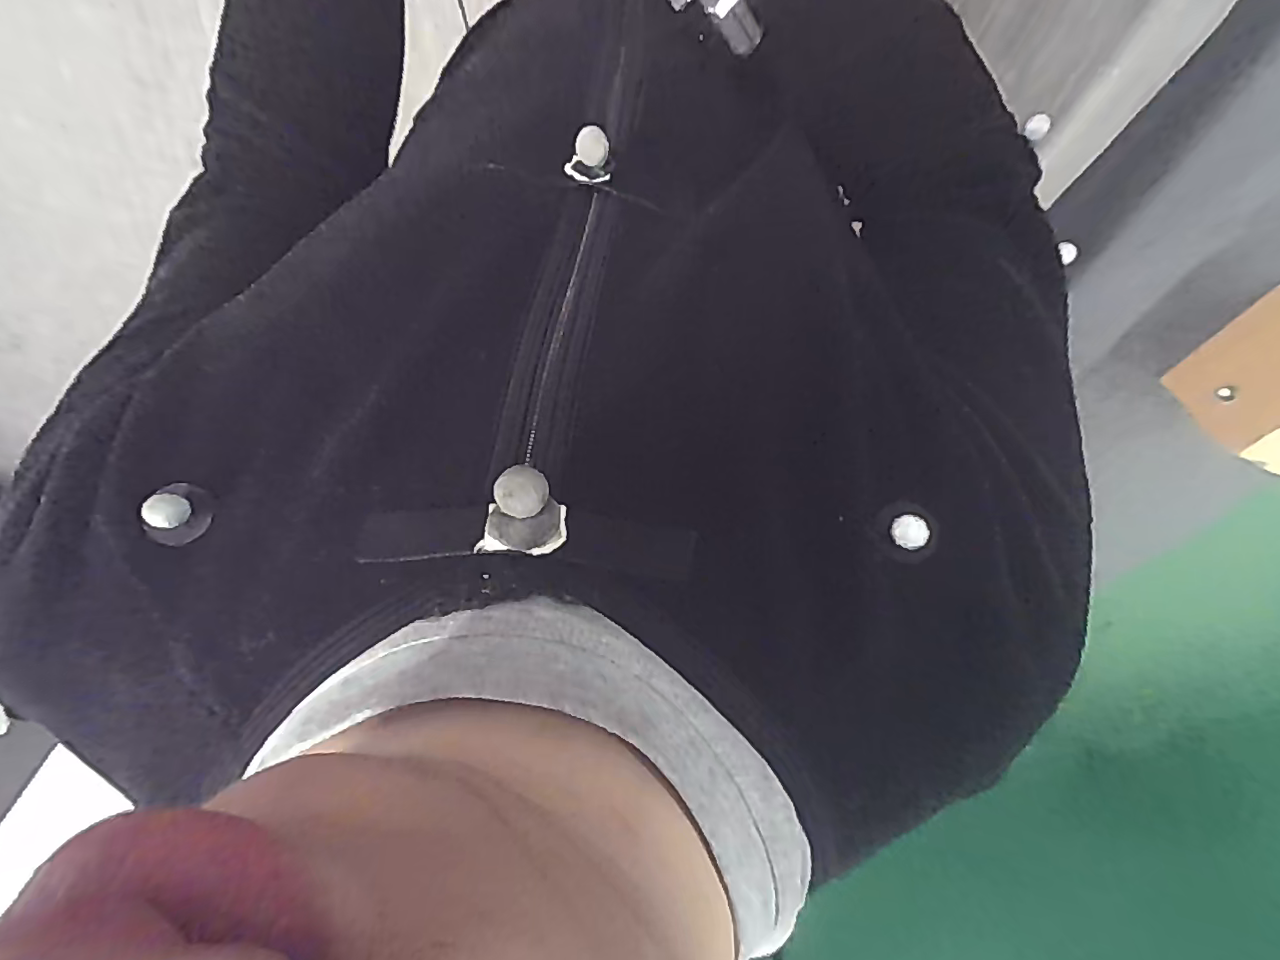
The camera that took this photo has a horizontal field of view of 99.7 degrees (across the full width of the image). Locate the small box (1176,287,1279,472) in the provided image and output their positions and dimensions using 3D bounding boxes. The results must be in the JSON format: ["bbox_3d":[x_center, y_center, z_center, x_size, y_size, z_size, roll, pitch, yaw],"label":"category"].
[{"bbox_3d":[0.870,-0.124,0.704,0.168,0.176,0.179,13,135,-11],"label":"small box"}]
